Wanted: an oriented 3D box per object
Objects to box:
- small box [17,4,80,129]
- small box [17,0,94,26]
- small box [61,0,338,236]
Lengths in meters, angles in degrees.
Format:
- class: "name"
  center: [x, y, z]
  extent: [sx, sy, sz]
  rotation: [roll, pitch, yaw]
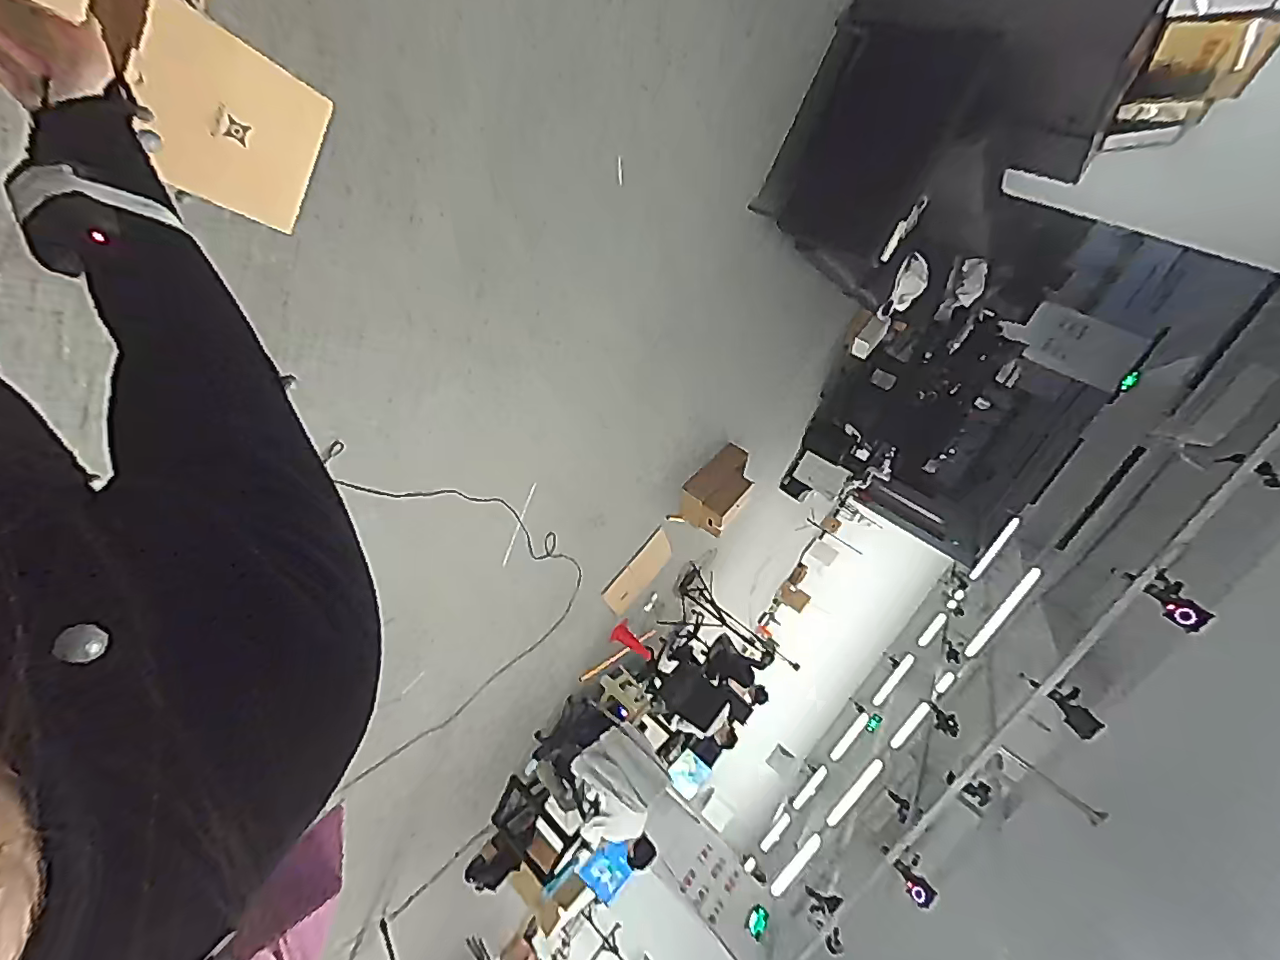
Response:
- class: "small box"
  center: [-0.620, -0.503, 0.669]
  extent: [0.168, 0.176, 0.179]
  rotation: [0, 119, -62]
- class: "small box"
  center: [-0.444, -0.413, 0.308]
  extent: [0.179, 0.176, 0.168]
  rotation: [-1, 121, -60]
- class: "small box"
  center: [-0.494, -0.415, 0.614]
  extent: [0.179, 0.176, 0.168]
  rotation: [2, 118, -62]
